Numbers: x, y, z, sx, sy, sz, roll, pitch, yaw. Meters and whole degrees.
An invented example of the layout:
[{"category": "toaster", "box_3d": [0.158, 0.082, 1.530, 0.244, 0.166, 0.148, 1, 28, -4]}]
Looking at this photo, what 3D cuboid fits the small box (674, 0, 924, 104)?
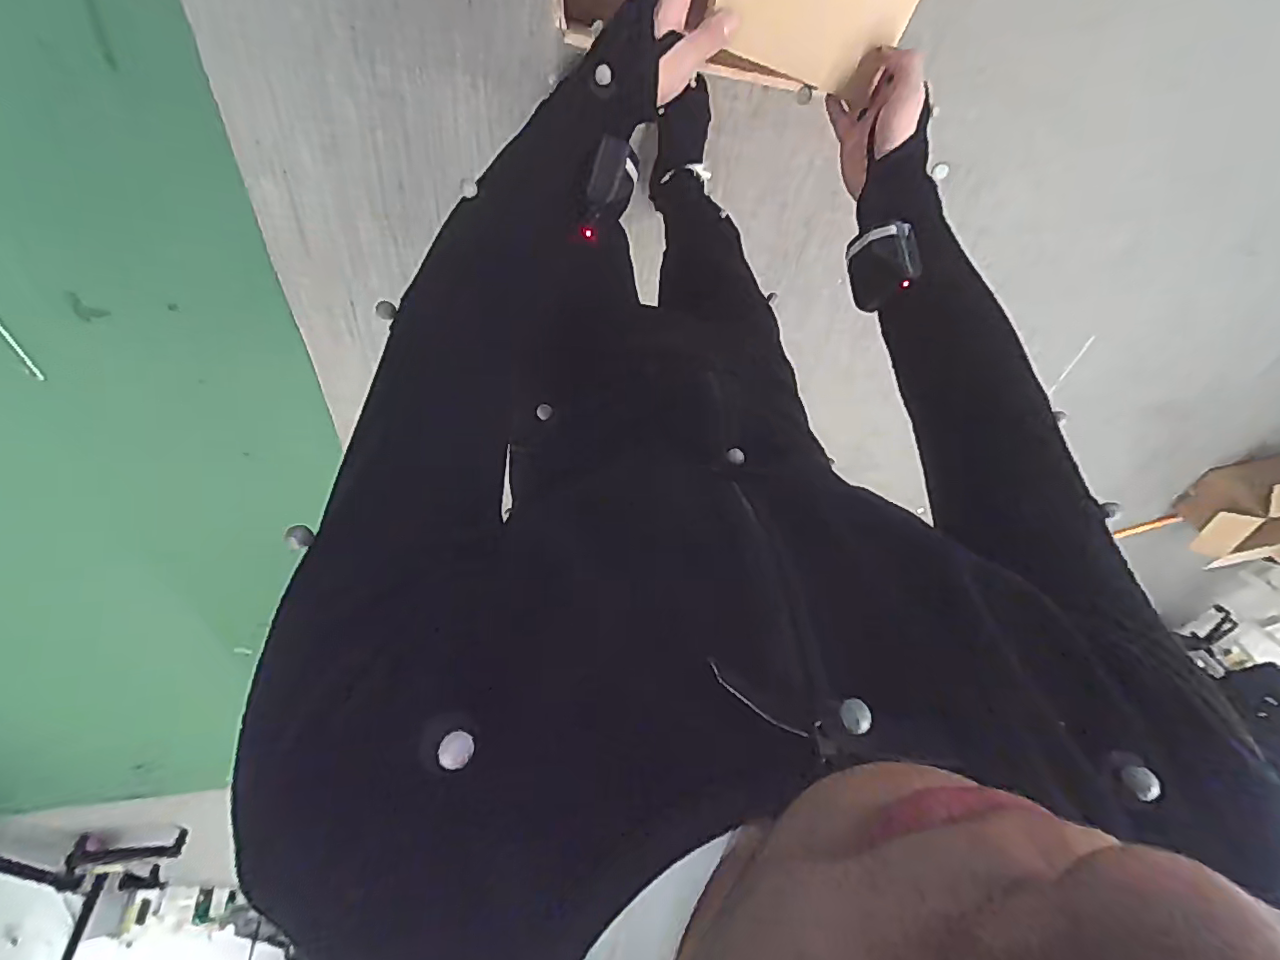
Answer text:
[{"category": "small box", "box_3d": [0.150, -0.477, 0.484, 0.179, 0.176, 0.168, 7, 134, -19]}]
